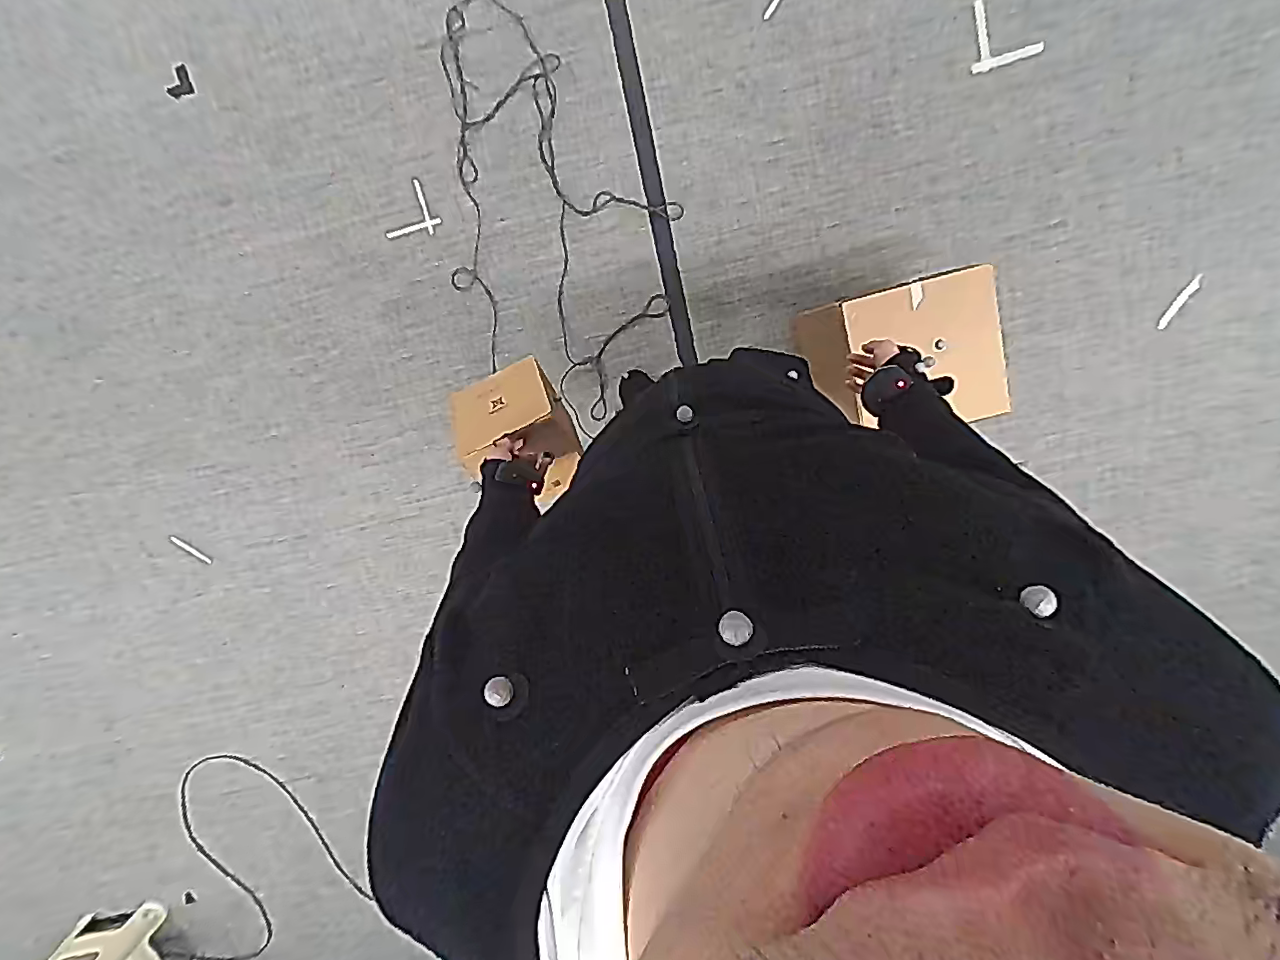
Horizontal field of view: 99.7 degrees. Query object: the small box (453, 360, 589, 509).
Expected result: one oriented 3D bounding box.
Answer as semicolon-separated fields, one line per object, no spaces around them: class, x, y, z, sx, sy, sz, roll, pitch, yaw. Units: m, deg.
small box;-0.206;-0.072;0.953;0.168;0.179;0.176;-26;137;1
